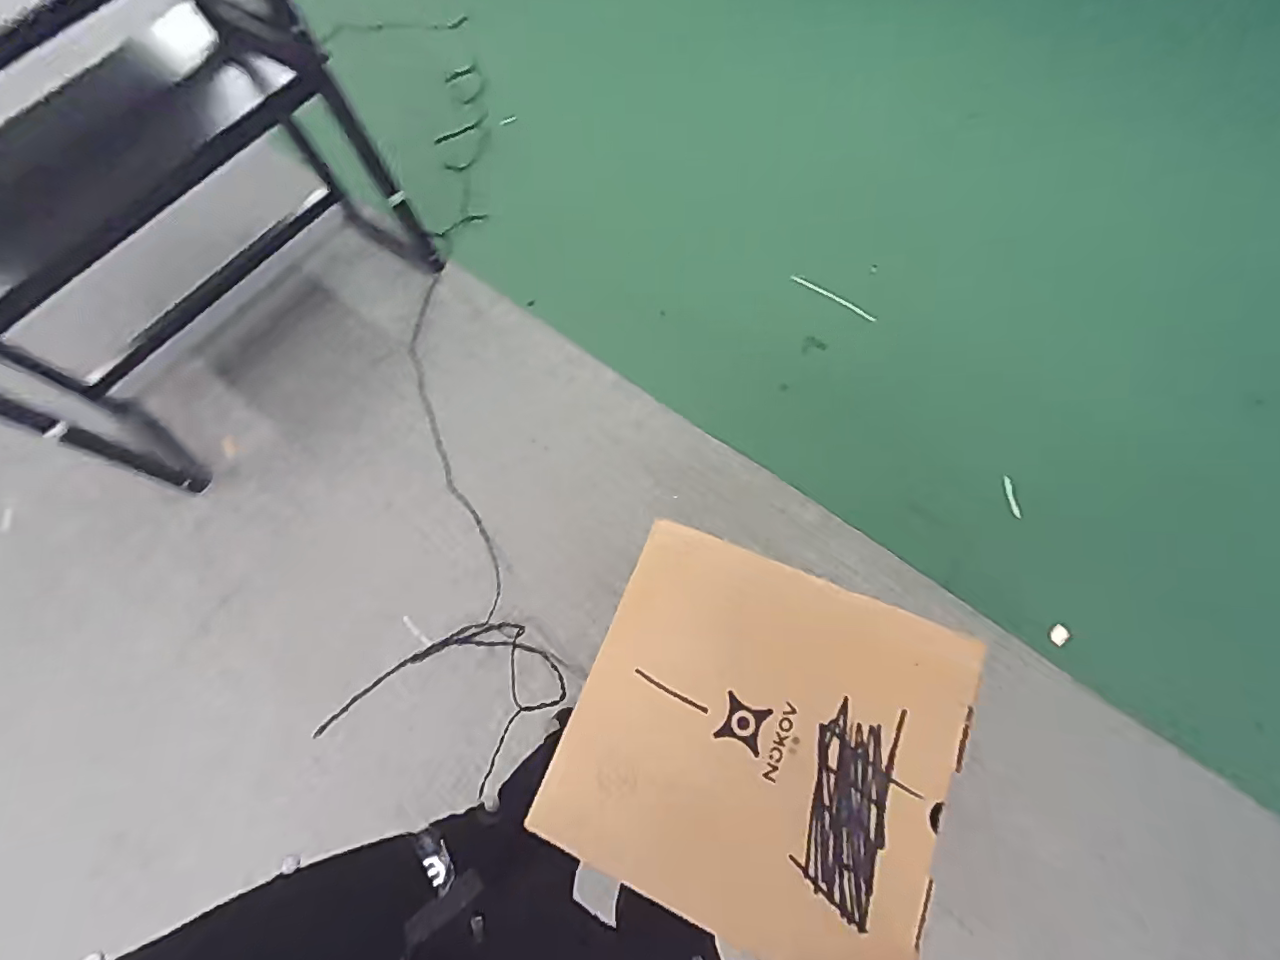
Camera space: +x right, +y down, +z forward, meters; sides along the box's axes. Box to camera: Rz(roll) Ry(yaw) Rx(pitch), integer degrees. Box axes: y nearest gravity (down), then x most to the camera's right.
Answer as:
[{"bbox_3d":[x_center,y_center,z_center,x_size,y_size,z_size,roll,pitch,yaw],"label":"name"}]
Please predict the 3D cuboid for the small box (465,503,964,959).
[{"bbox_3d":[0.041,0.138,0.315,0.179,0.176,0.168,23,74,13],"label":"small box"}]
